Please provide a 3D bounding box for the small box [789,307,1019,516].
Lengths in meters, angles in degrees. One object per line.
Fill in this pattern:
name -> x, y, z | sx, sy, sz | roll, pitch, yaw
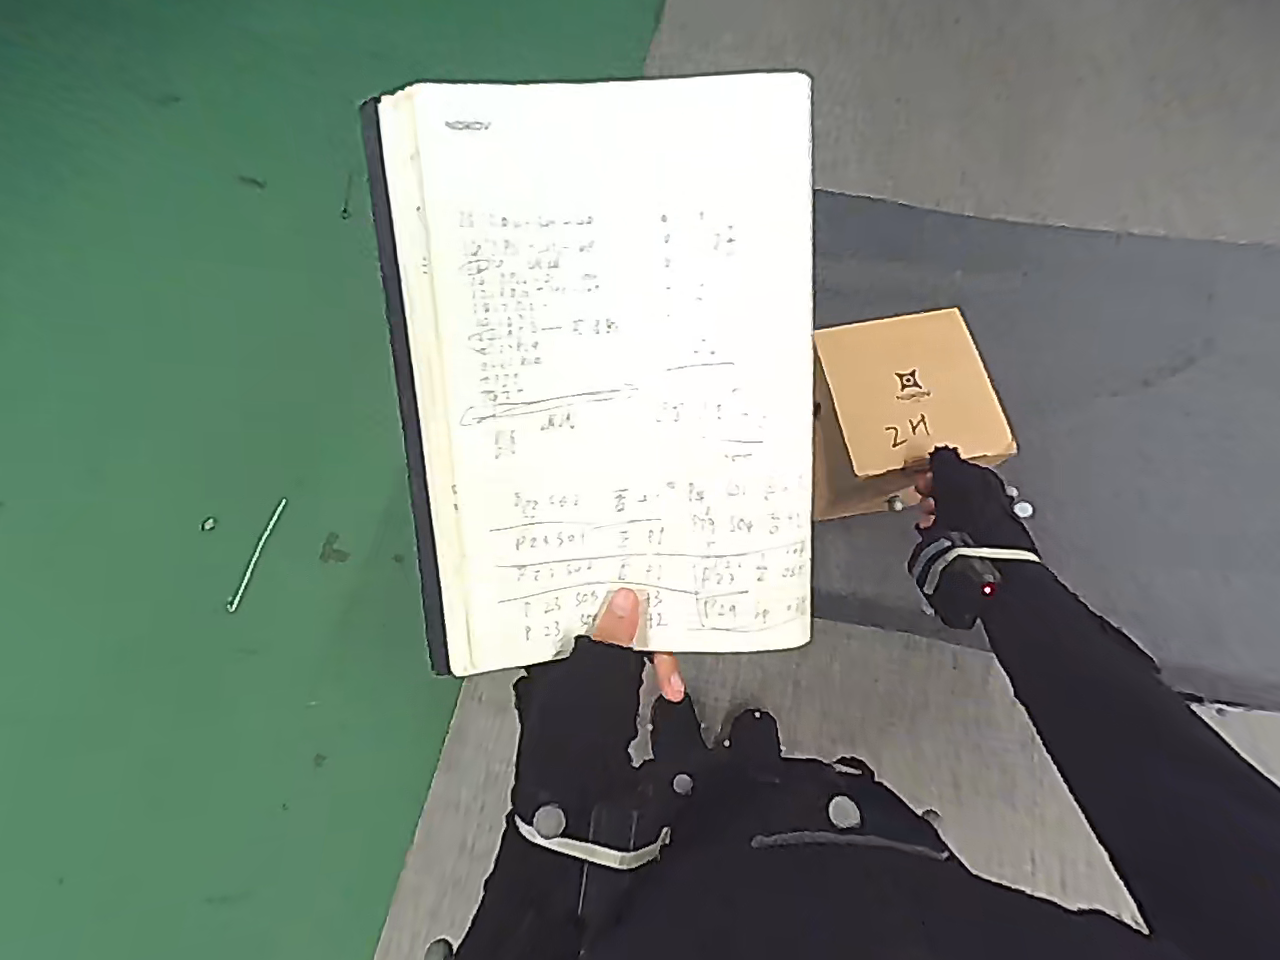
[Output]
small box -> 0.287, -0.072, 0.638 | 0.168, 0.176, 0.179 | -9, 70, 0
